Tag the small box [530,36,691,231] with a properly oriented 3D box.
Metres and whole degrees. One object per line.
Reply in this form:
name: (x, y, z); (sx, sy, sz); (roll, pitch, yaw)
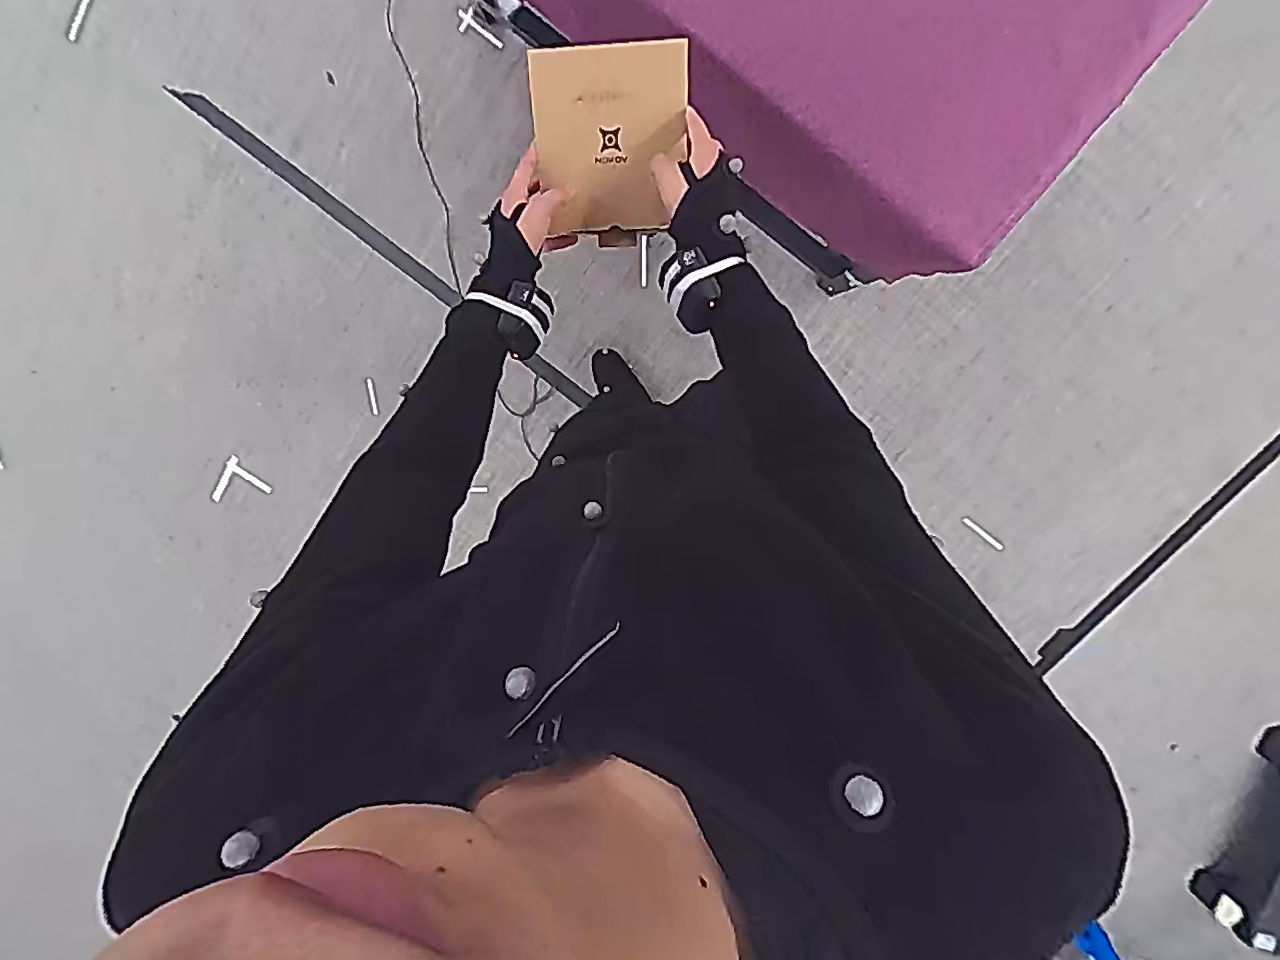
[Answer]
small box: (-0.024, -0.398, 0.652); (0.168, 0.176, 0.179); (1, 114, 4)
